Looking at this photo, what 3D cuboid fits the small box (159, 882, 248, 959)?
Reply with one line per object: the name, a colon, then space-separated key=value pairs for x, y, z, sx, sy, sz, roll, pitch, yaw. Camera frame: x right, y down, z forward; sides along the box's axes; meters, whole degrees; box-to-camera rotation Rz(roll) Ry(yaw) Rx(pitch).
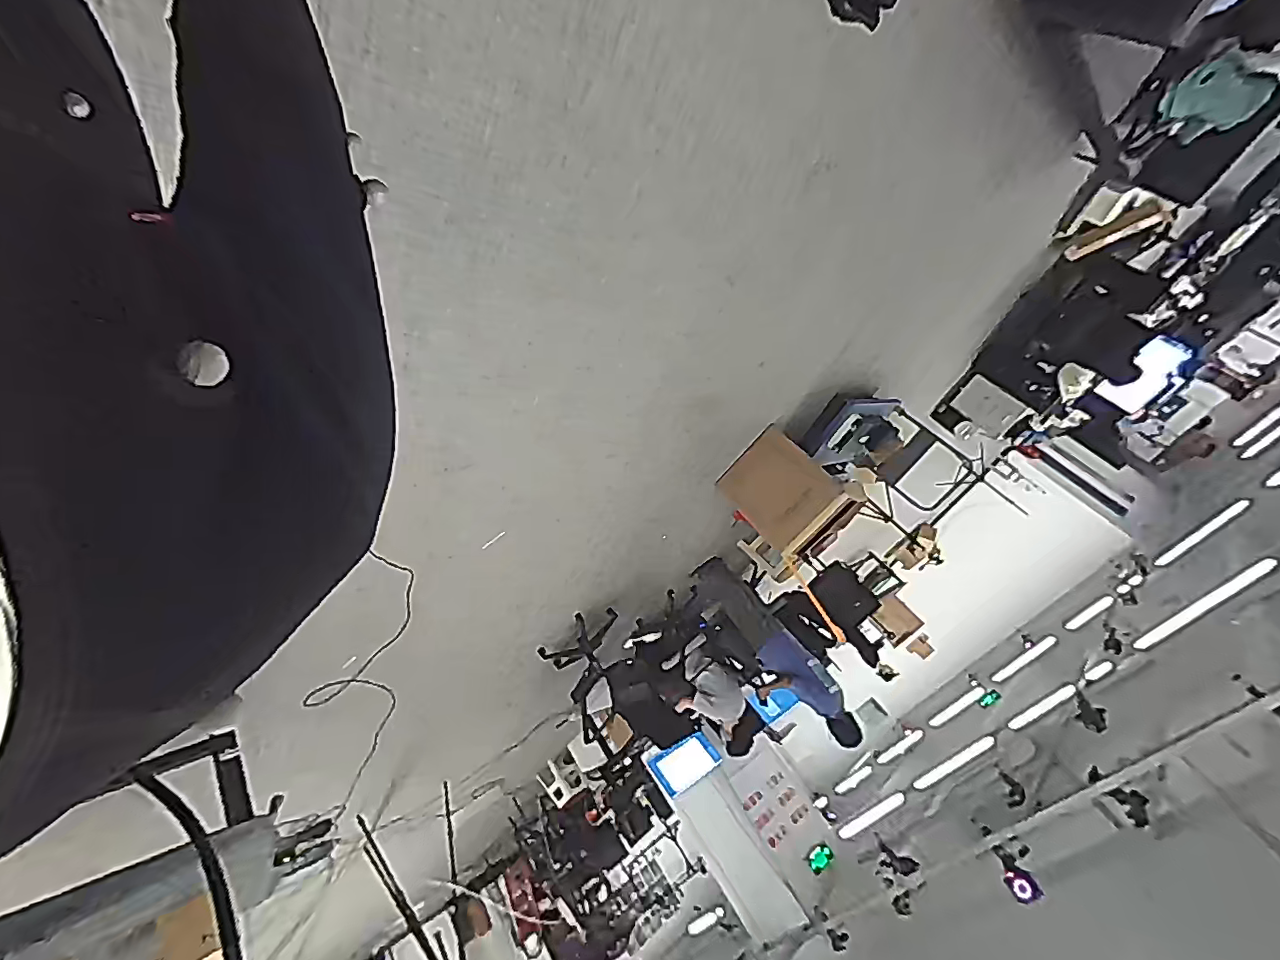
small box: x=-1.274 y=1.331 z=1.583 sx=0.179 sy=0.176 sz=0.168 roll=-11 pitch=139 yaw=-41
